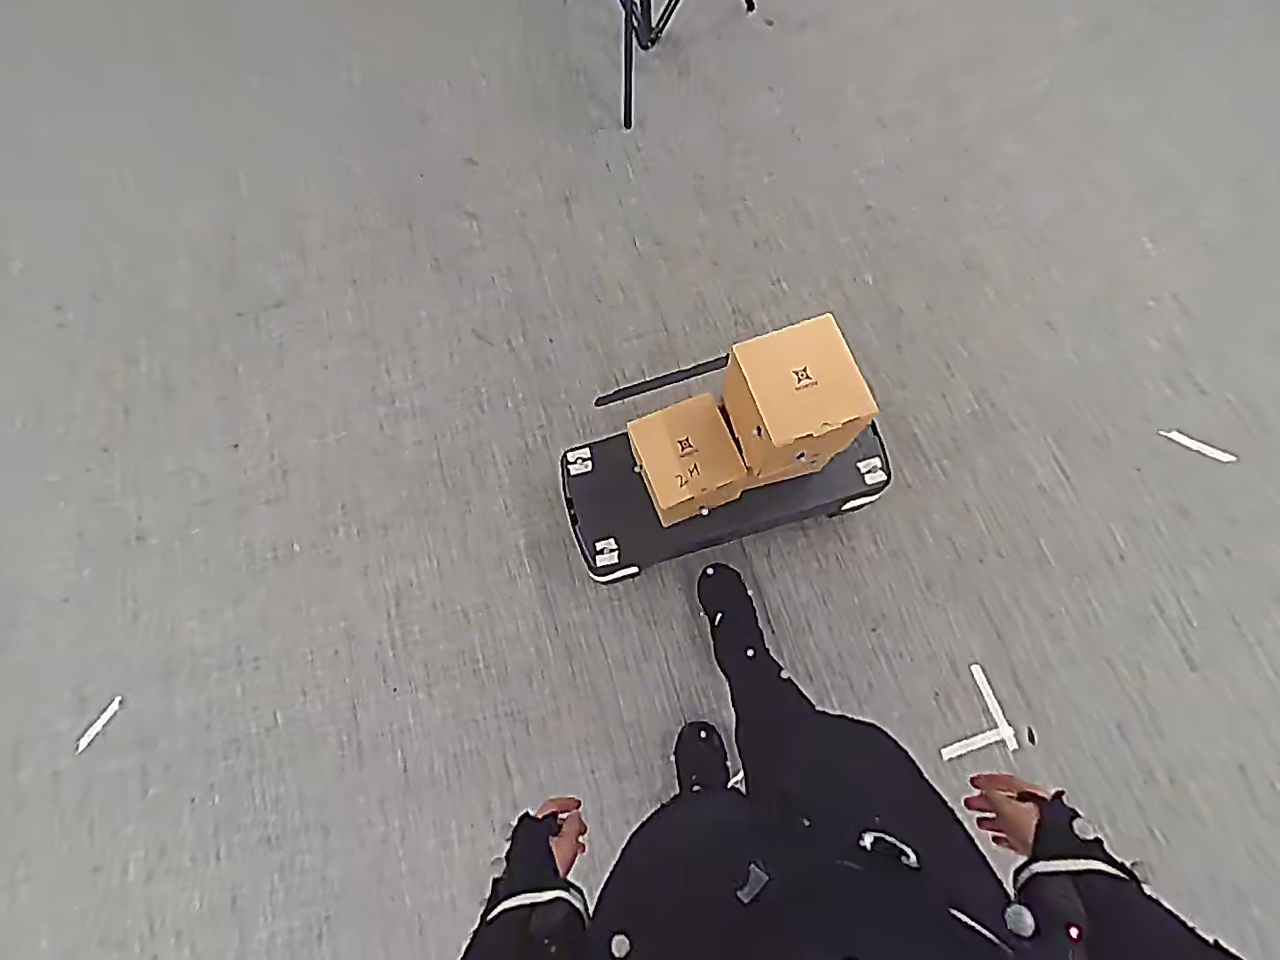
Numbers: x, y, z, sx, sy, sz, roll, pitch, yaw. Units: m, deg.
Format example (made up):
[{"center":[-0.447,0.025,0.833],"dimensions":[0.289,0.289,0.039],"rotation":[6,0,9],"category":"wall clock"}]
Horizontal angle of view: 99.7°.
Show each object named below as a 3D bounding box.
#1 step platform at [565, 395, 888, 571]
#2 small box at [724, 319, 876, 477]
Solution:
[{"center":[0.180,-0.025,1.211],"dimensions":[0.684,0.204,0.286],"rotation":[-17,74,-1],"category":"step platform"},{"center":[0.246,-0.126,0.886],"dimensions":[0.168,0.176,0.179],"rotation":[-19,75,-2],"category":"small box"}]
